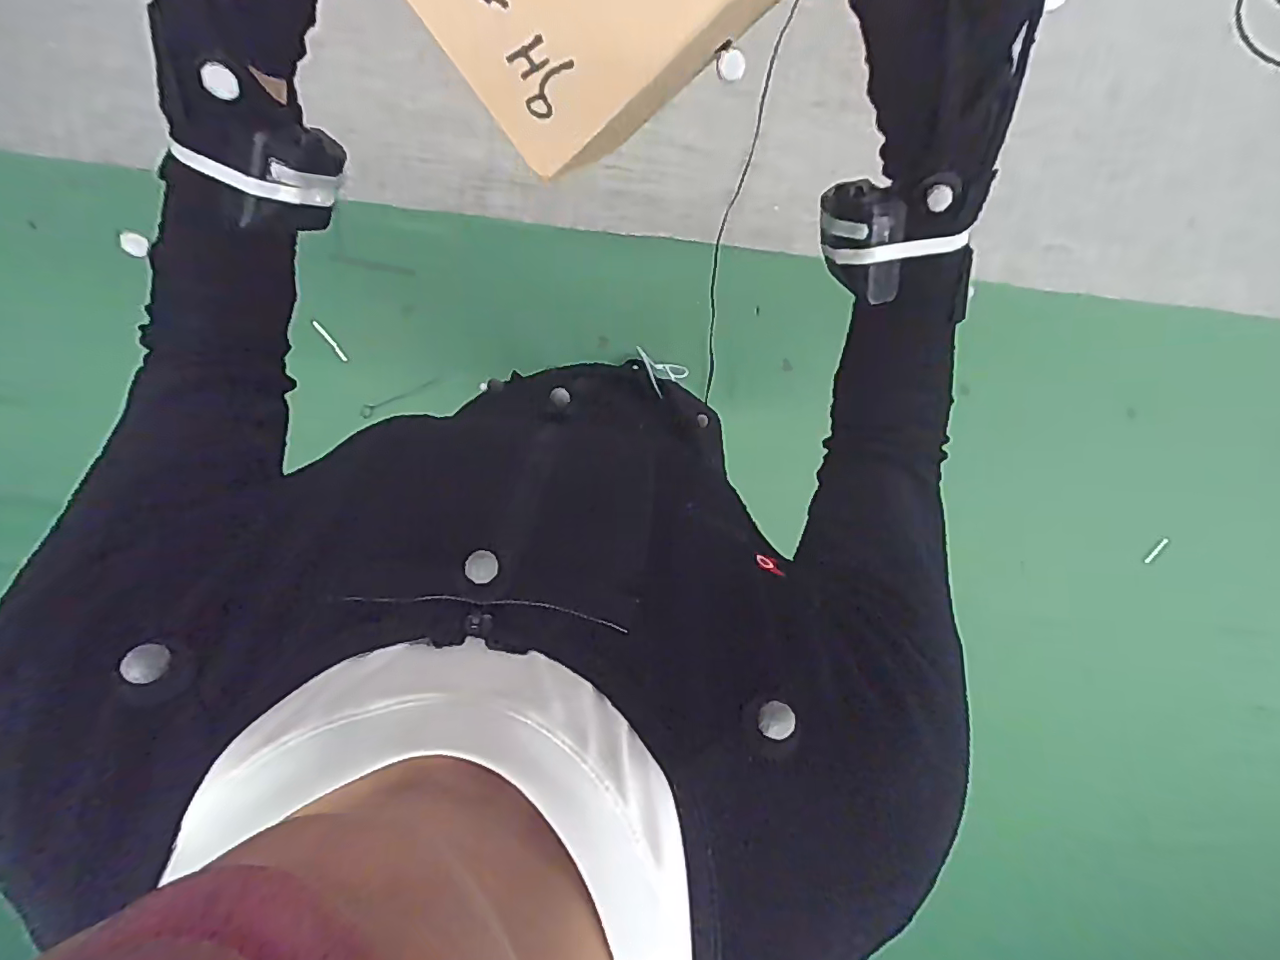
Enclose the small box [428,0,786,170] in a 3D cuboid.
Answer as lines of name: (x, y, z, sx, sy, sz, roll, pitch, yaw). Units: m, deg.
small box: (-0.009, -0.275, 0.237, 0.179, 0.176, 0.168, -28, 115, 25)
